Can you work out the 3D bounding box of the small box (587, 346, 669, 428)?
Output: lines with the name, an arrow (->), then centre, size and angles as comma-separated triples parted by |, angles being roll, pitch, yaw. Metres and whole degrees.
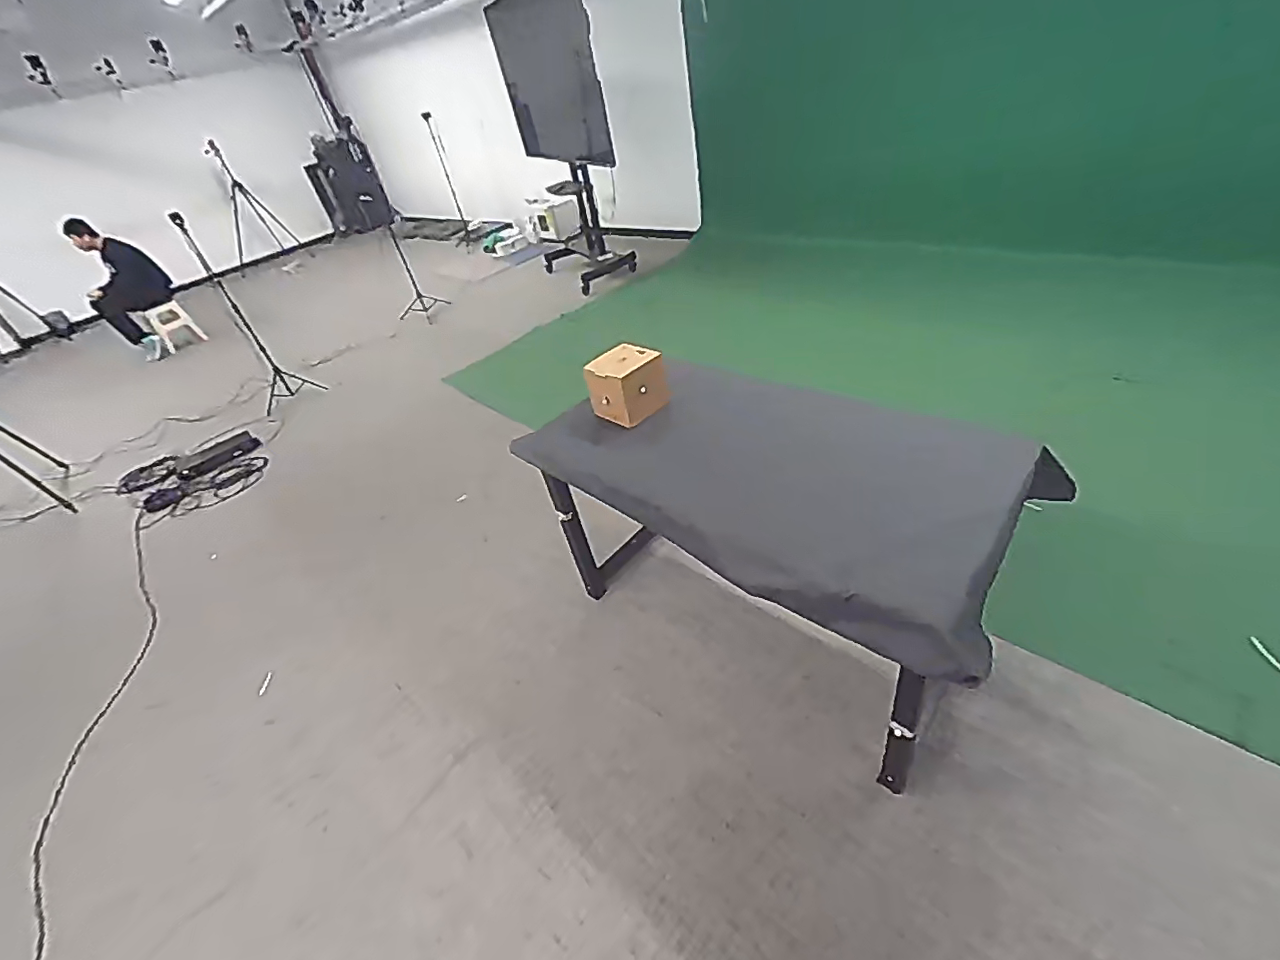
small box -> -0.030, -0.282, 1.647 | 0.168, 0.176, 0.179 | 26, 52, 38
